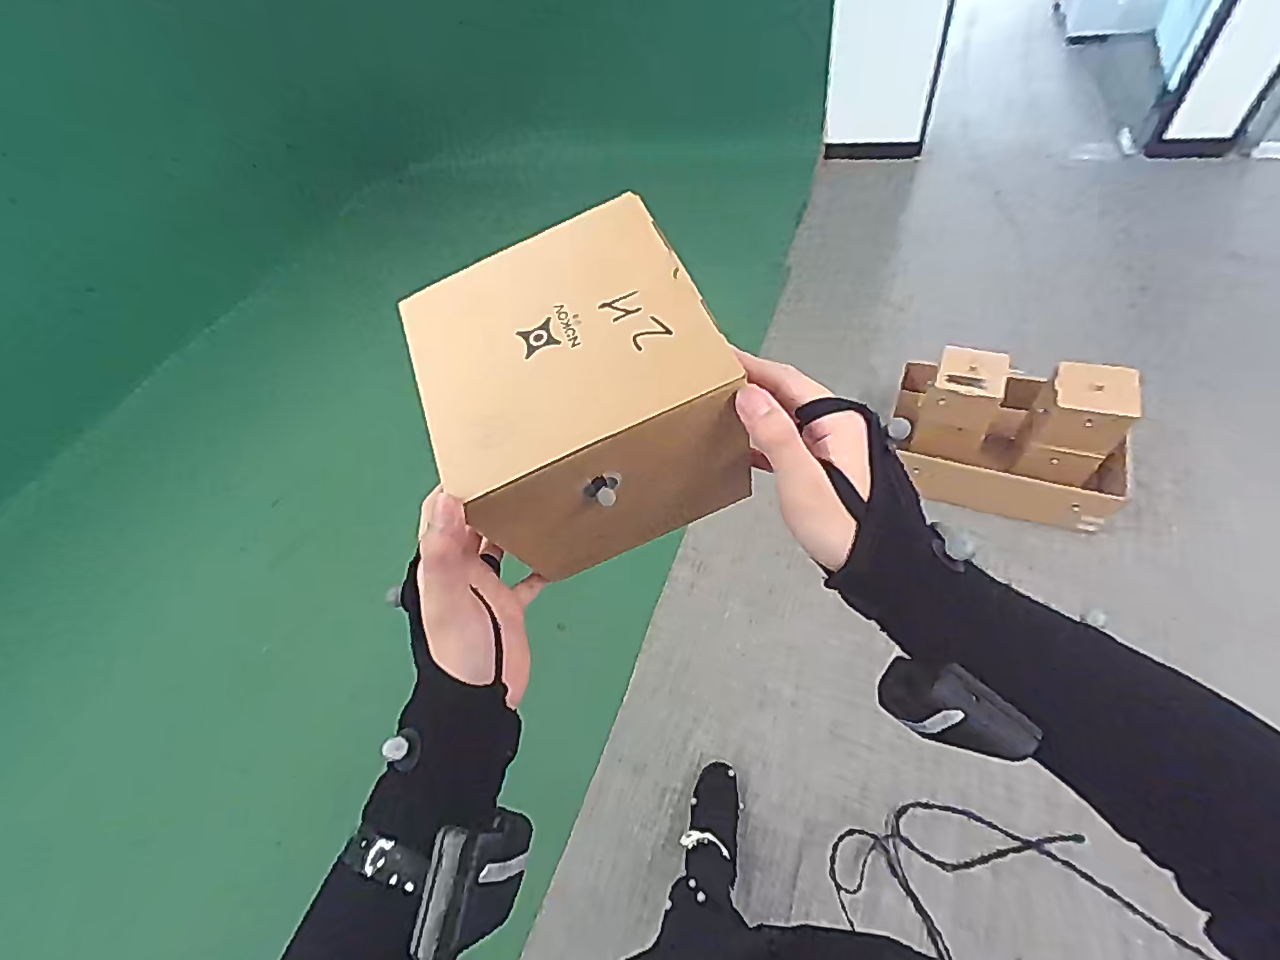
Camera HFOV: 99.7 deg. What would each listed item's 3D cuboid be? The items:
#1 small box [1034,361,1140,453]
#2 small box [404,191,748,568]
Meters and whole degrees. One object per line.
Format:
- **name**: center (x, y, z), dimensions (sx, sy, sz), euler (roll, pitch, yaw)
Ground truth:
- **small box**: center (1.189, -0.193, 1.450), dimensions (0.179, 0.176, 0.168), euler (13, 61, 21)
- **small box**: center (-0.034, -0.056, 0.389), dimensions (0.179, 0.176, 0.168), euler (-24, 63, 1)
